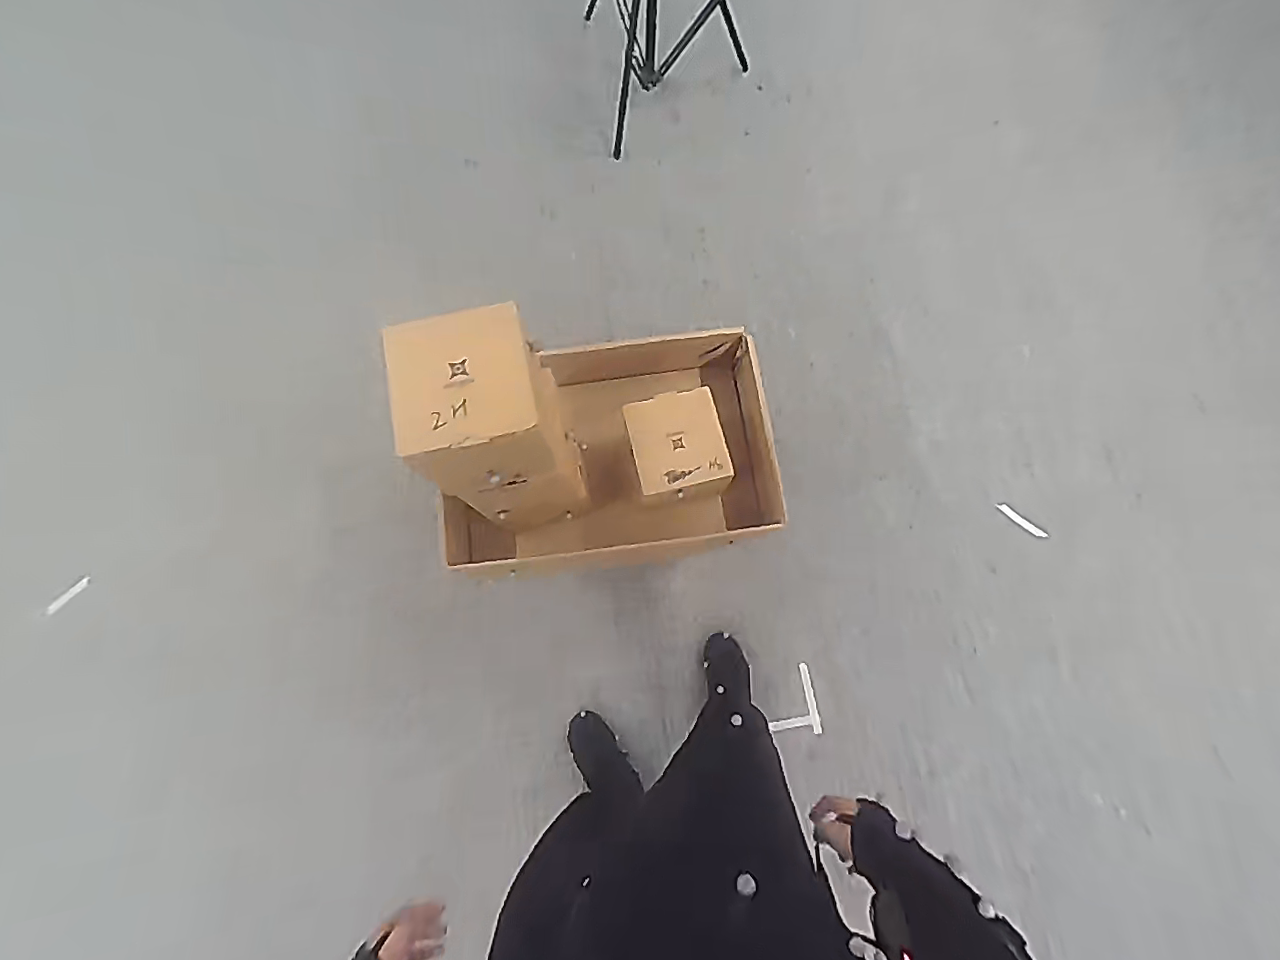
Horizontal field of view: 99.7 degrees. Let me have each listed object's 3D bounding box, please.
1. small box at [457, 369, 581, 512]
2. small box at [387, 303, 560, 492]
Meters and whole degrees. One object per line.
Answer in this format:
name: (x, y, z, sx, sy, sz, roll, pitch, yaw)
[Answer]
small box: (-0.195, -0.053, 0.871, 0.168, 0.176, 0.179, -11, 75, -3)
small box: (-0.209, -0.100, 0.713, 0.168, 0.176, 0.179, -12, 75, -3)
